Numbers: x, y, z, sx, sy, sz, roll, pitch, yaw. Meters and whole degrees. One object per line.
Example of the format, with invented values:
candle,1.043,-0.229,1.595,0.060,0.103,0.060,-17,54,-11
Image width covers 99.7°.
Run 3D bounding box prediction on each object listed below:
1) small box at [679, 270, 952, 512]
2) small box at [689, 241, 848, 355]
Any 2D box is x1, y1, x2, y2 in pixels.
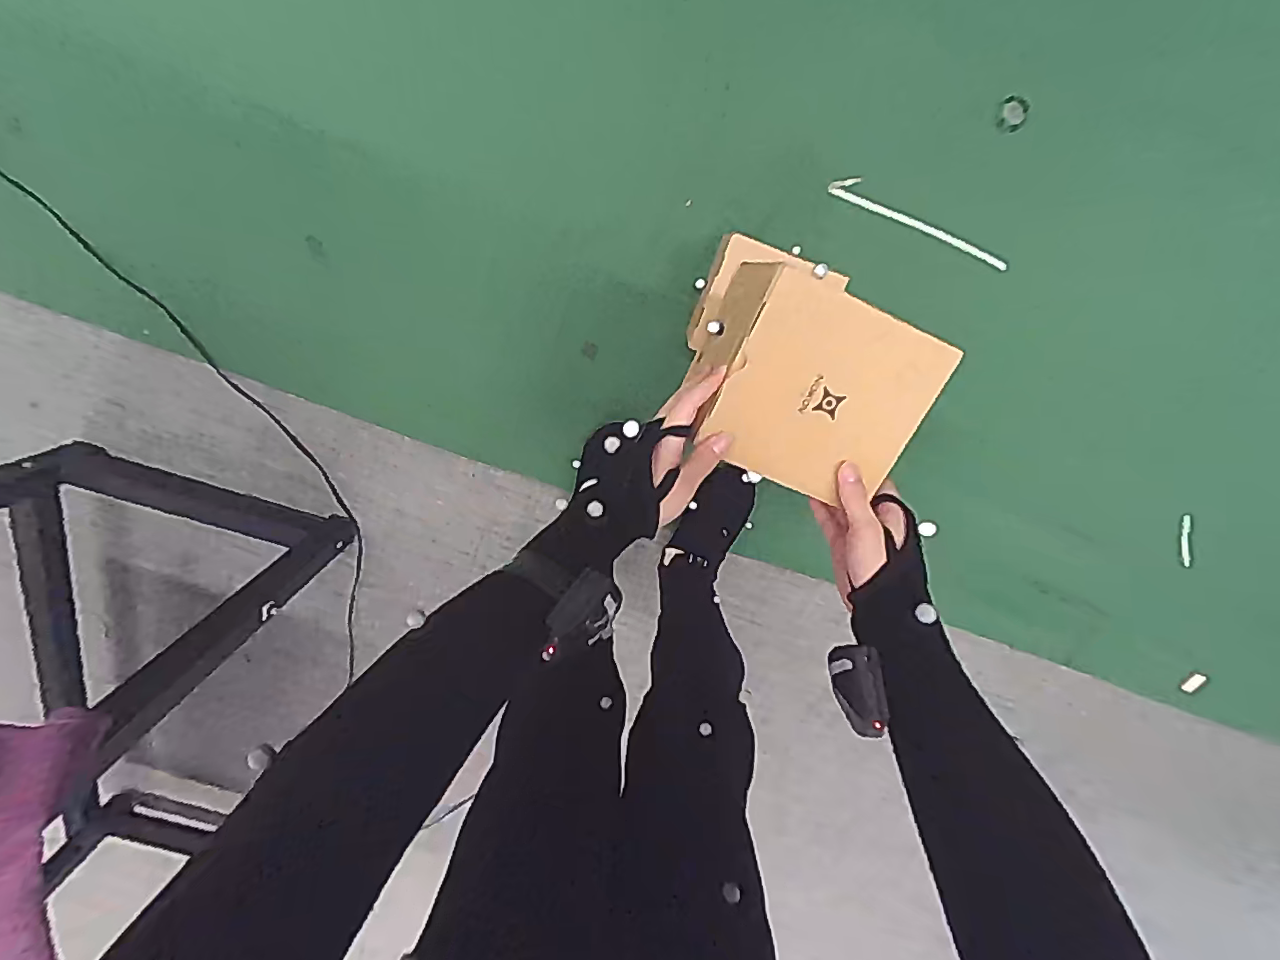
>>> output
small box,0.153,-0.098,0.542,0.179,0.176,0.168,22,109,-9
small box,0.185,-0.258,0.841,0.179,0.176,0.168,20,112,-4
